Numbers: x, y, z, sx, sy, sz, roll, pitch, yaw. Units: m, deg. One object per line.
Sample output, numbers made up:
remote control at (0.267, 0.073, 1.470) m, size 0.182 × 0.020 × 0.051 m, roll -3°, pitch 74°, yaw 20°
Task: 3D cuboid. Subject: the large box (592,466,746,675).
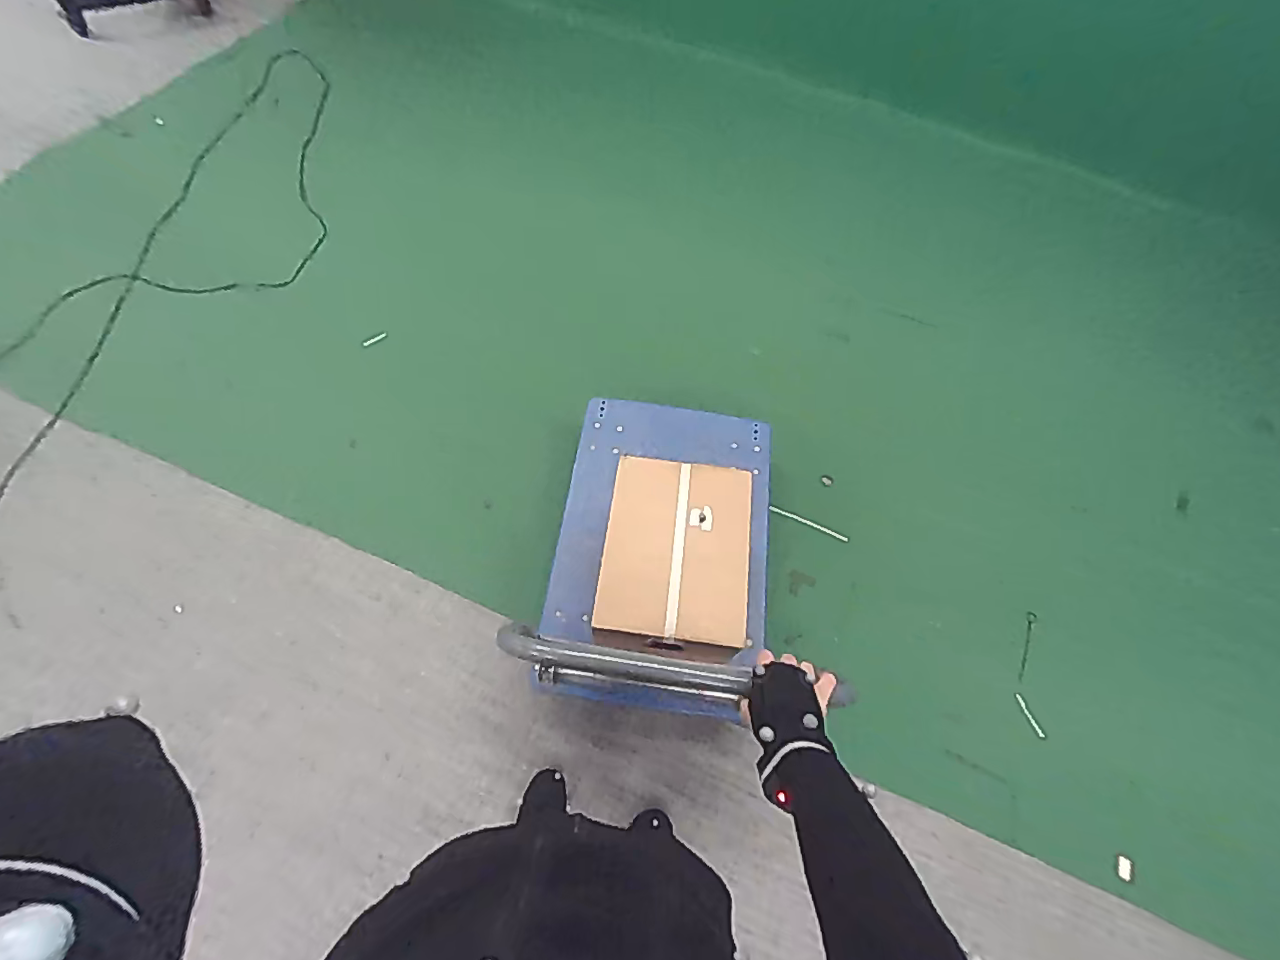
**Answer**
large box at (0.070, 0.227, 1.308) m, size 0.320 × 0.320 × 0.408 m, roll 8°, pitch 61°, yaw 1°
